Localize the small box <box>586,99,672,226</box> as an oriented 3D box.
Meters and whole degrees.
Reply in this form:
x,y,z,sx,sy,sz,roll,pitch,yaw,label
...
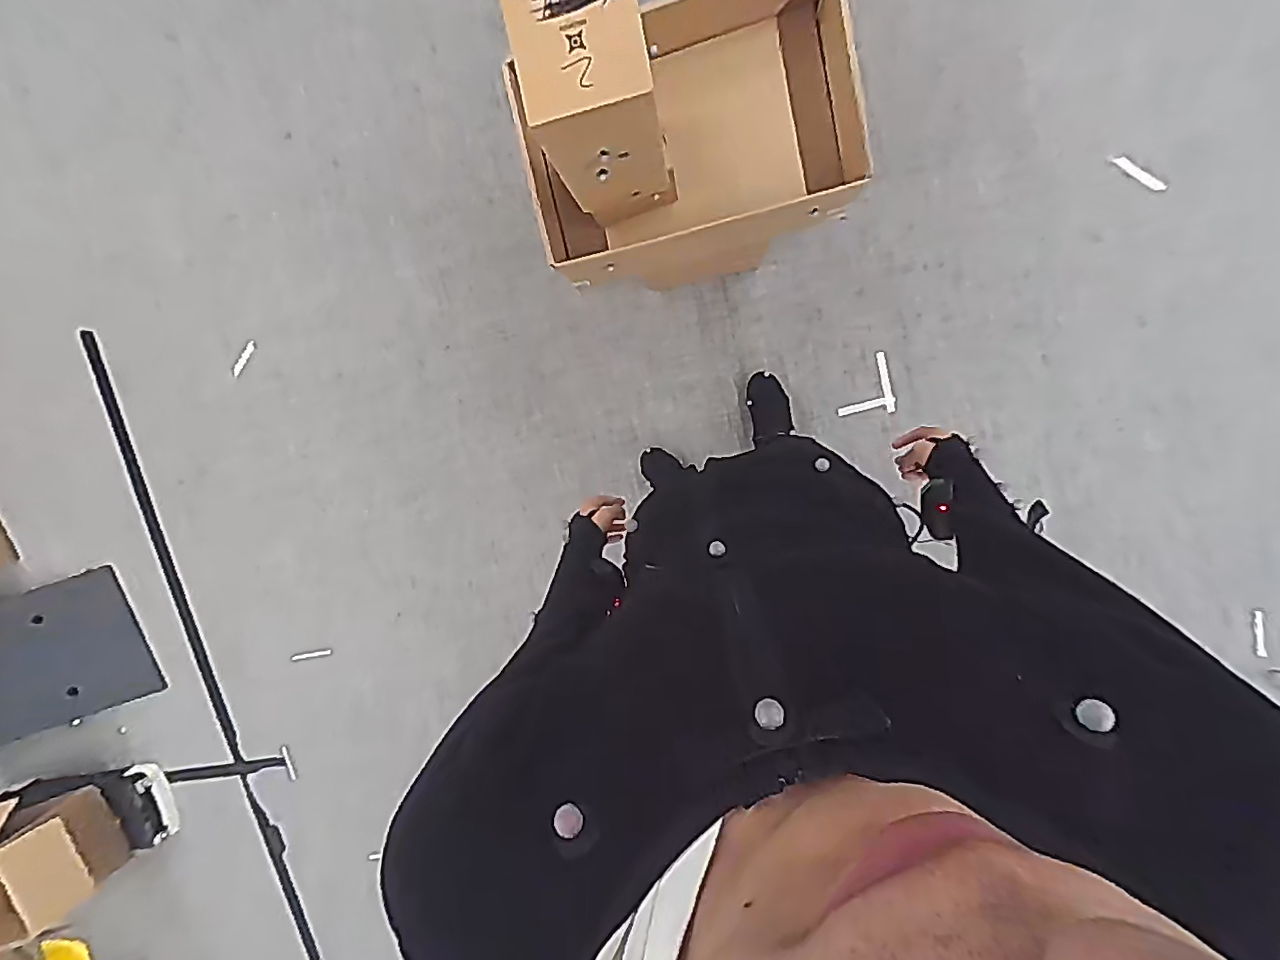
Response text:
x,y,z,sx,sy,sz,roll,pitch,yaw,label
-0.040,-0.627,1.054,0.179,0.176,0.168,-17,96,10,small box

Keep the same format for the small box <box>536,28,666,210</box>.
x,y,z,sx,sy,sz,roll,pitch,yaw,label
-0.056,-0.582,0.897,0.168,0.176,0.179,-11,96,9,small box
